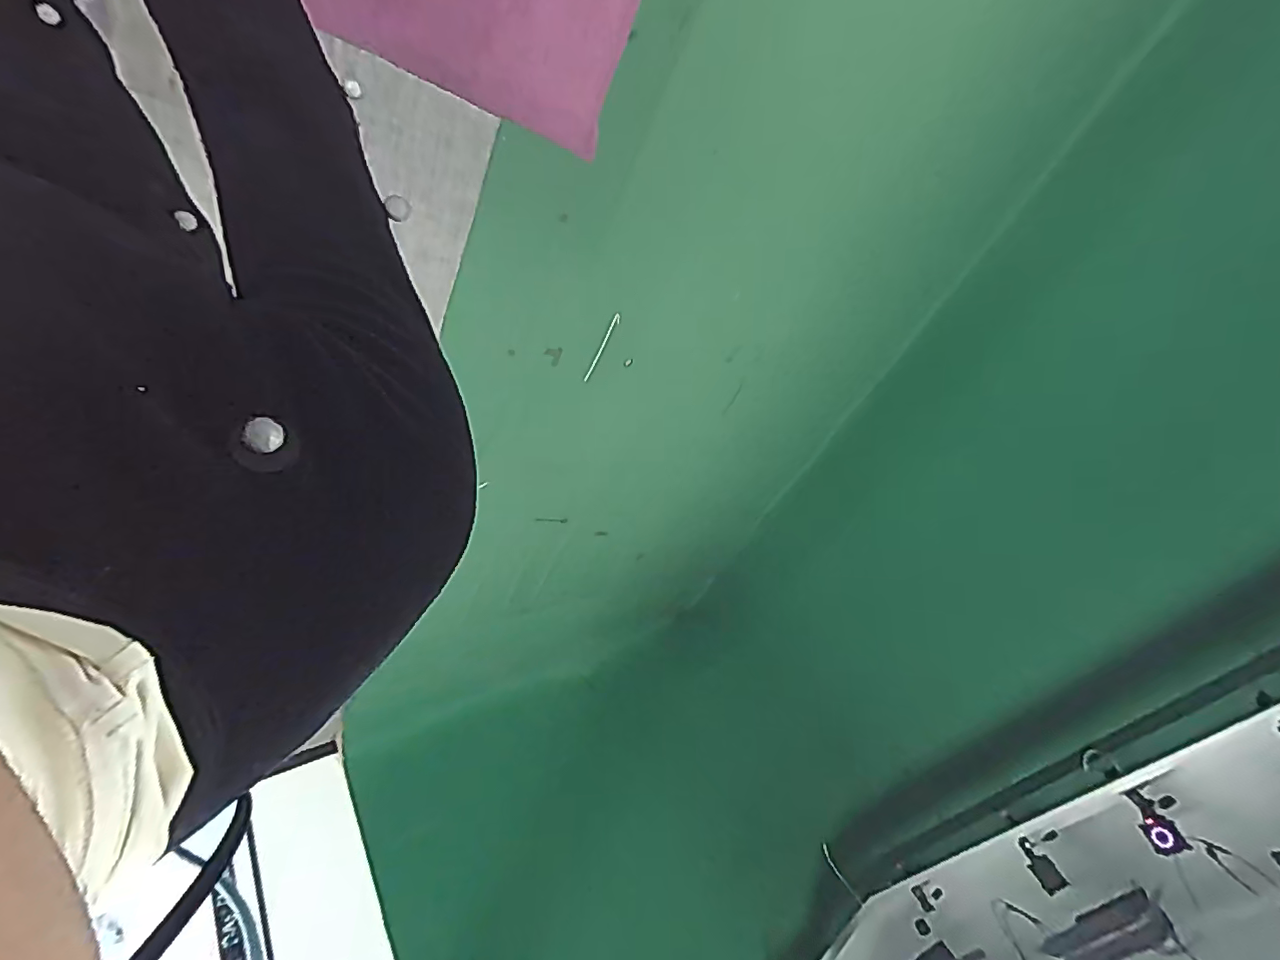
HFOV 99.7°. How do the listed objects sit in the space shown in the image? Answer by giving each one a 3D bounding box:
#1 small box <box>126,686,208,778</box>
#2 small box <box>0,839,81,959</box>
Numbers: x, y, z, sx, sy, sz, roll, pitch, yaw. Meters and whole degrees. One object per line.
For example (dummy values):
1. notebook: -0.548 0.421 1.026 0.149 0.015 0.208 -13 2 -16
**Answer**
1. small box: -1.407 0.741 1.609 0.179 0.176 0.168 -3 135 -42
2. small box: -1.430 0.980 1.262 0.168 0.176 0.179 -3 136 -43
